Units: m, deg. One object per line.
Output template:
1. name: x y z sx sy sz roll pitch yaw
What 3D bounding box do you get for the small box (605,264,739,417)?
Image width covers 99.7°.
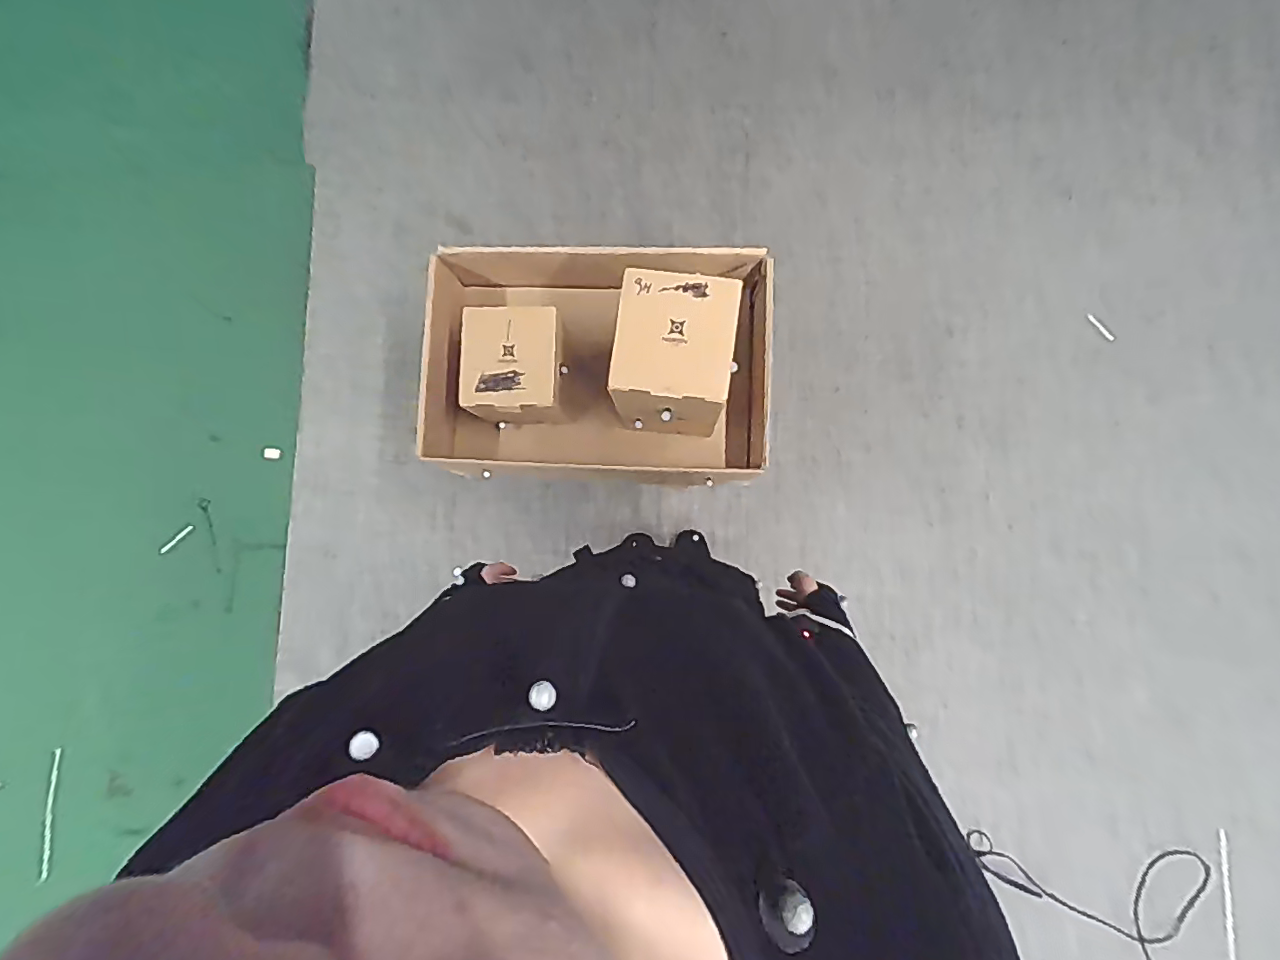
1. small box: 0.050 -0.199 0.819 0.168 0.176 0.179 8 87 4
